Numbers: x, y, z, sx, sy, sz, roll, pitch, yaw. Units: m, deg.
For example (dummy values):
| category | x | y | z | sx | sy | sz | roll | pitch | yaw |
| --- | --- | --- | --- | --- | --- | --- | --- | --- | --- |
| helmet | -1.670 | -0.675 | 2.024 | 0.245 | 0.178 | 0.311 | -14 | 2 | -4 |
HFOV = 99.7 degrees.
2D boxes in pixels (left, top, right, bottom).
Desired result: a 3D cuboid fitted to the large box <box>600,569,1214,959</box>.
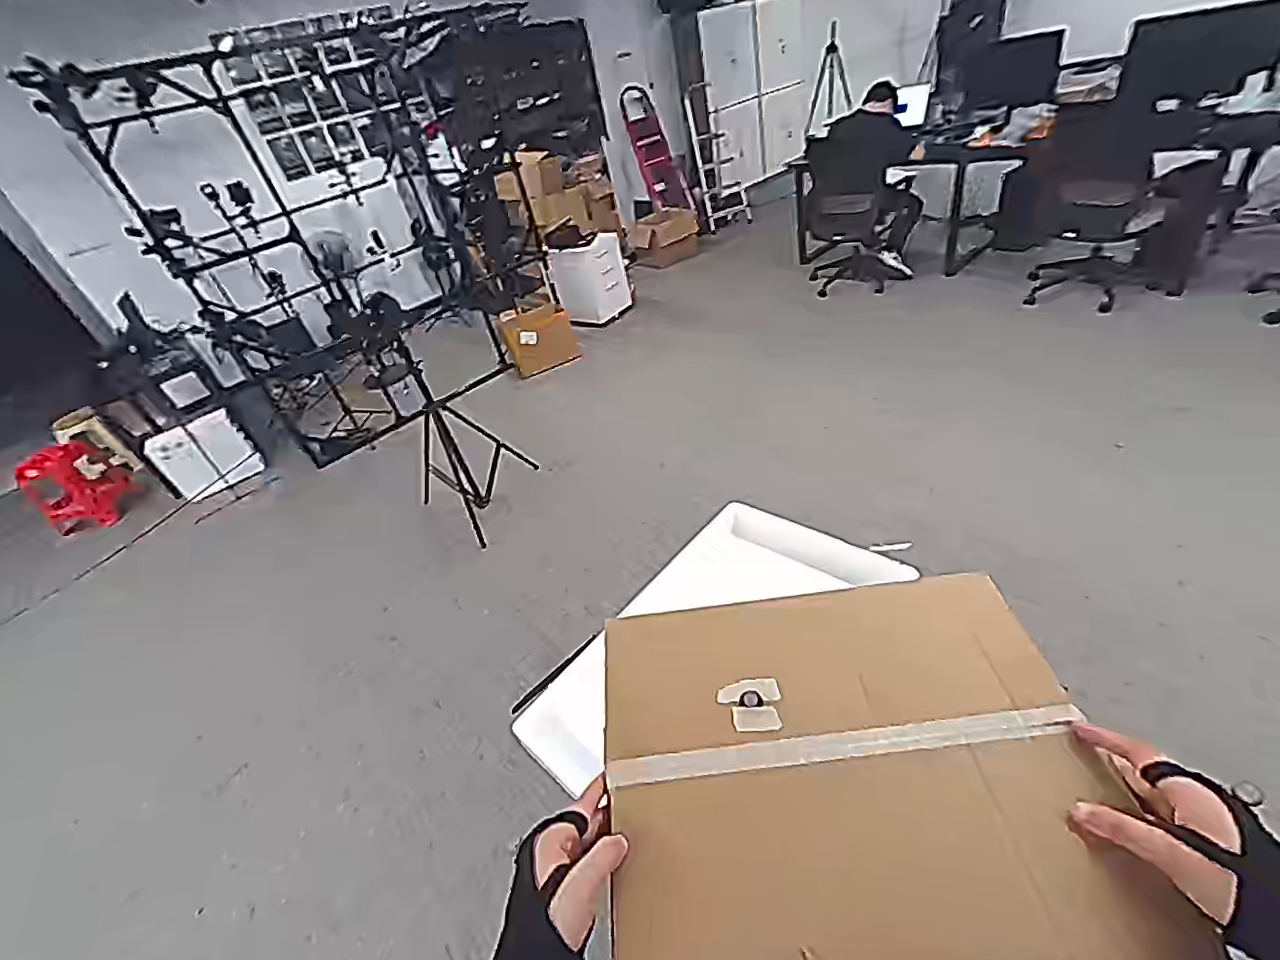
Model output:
| category | x | y | z | sx | sy | sz | roll | pitch | yaw |
| --- | --- | --- | --- | --- | --- | --- | --- | --- | --- |
| large box | 0.189 | 0.334 | 0.564 | 0.408 | 0.320 | 0.320 | -10 | 43 | 3 |
